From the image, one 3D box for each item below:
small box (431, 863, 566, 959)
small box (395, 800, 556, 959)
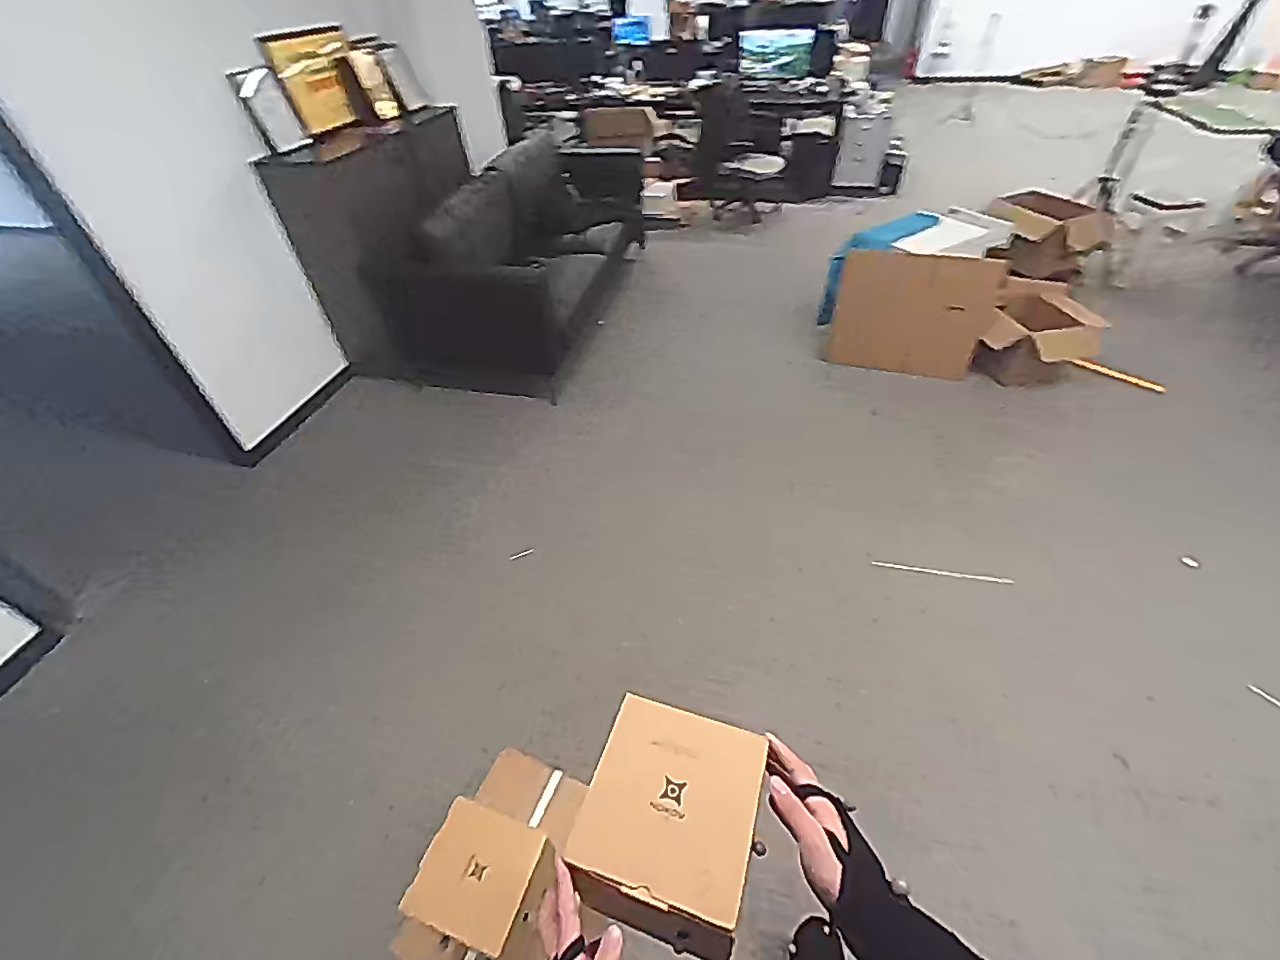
[{"bbox_3d":[-0.250,0.786,0.998,0.179,0.176,0.168,13,45,15],"label":"small box"},{"bbox_3d":[-0.254,0.665,0.888,0.179,0.176,0.168,11,45,15],"label":"small box"}]
